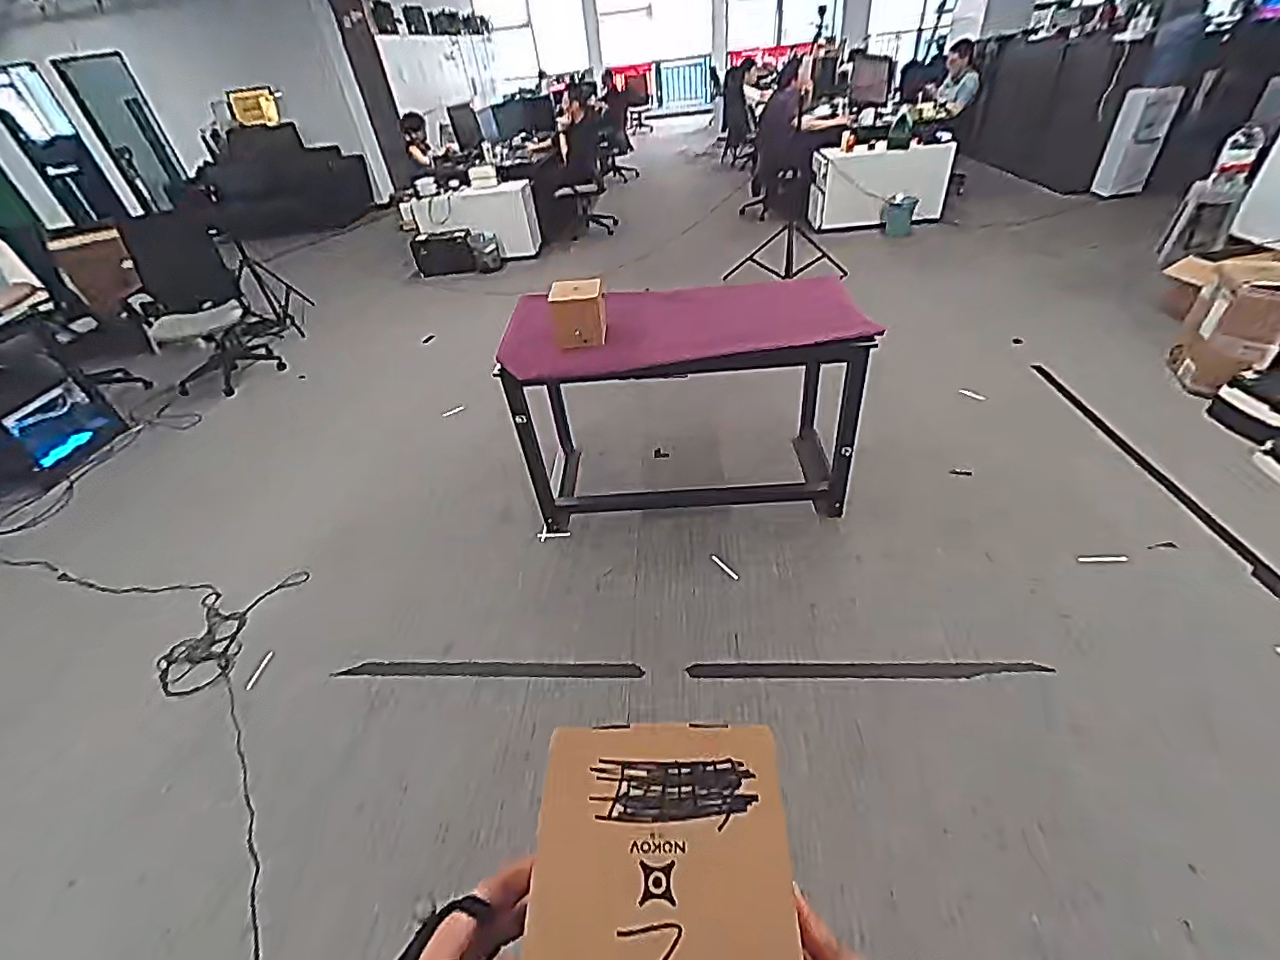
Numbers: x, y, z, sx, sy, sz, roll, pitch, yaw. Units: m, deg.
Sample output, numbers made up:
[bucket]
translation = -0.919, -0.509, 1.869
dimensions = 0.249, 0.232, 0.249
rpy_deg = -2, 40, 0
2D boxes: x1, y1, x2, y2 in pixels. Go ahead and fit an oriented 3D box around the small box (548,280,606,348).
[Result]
[small box]
translation = -0.209, -0.563, 1.837
dimensions = 0.168, 0.176, 0.179
rpy_deg = -4, 39, 3
